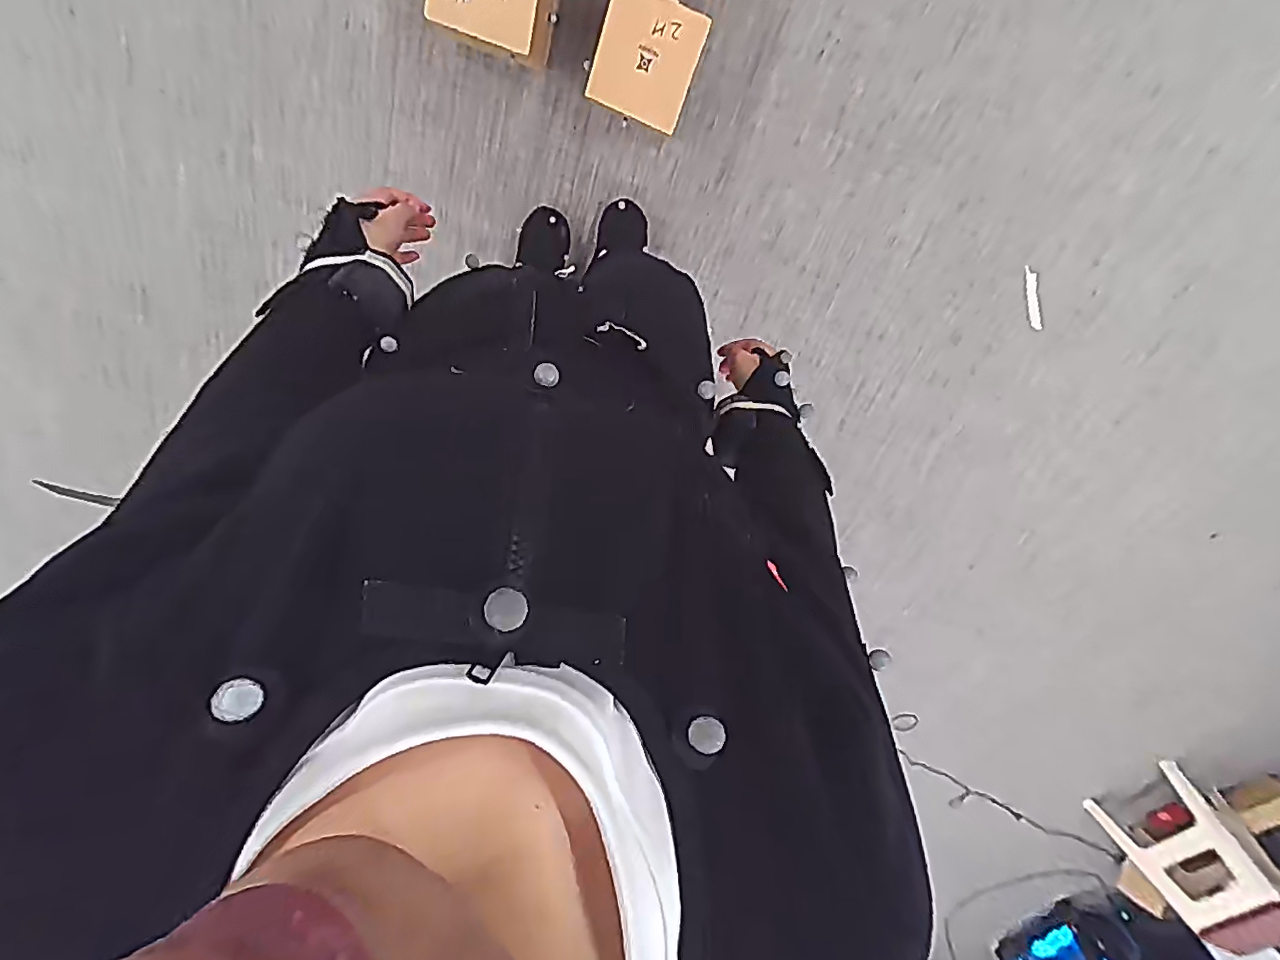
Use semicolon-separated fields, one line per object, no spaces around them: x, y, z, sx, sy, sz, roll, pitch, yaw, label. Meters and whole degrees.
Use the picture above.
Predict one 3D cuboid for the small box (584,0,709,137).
0.009;-0.745;0.975;0.168;0.176;0.179;18;118;-12;small box
